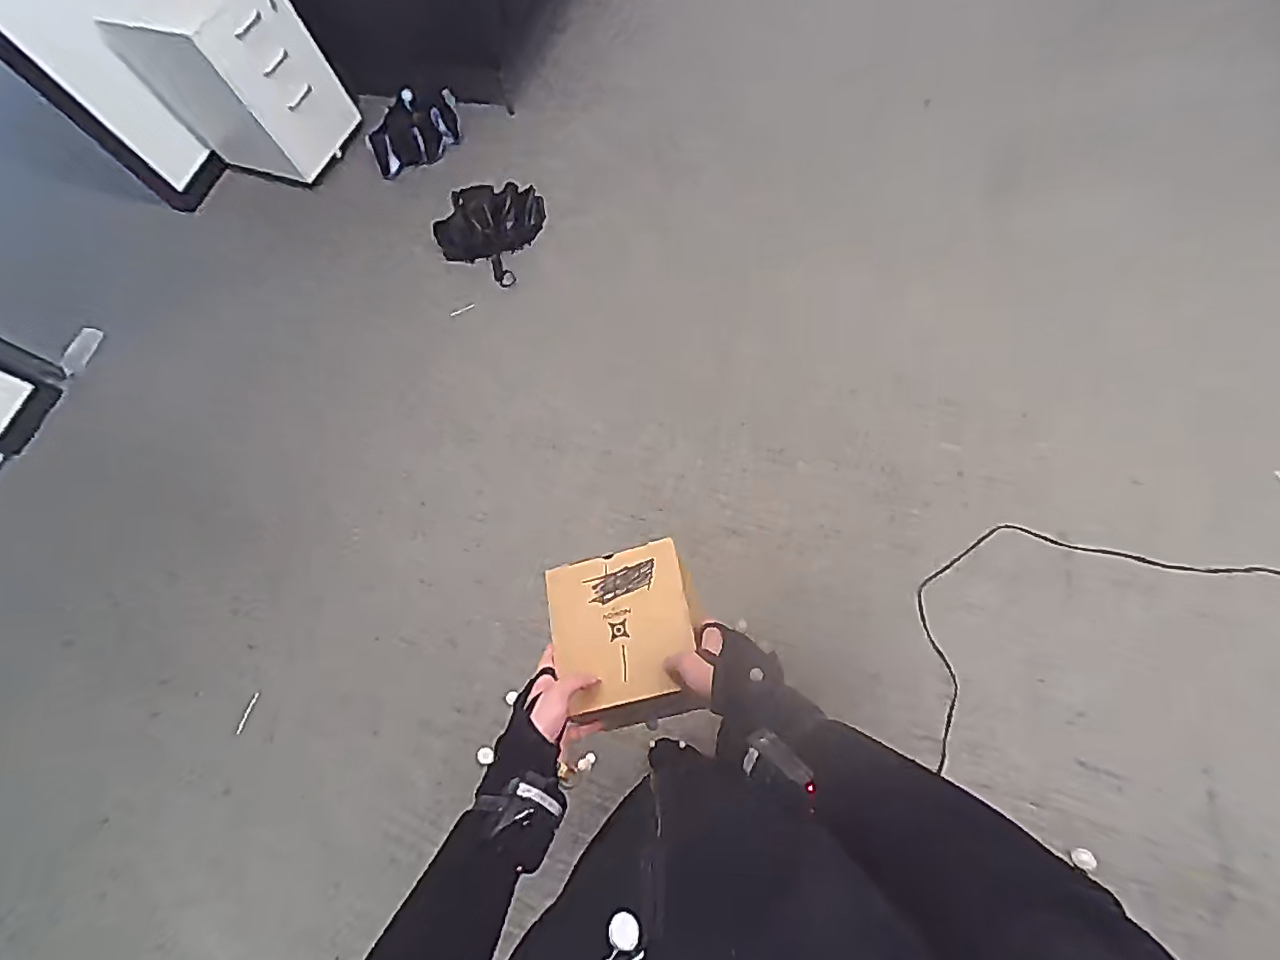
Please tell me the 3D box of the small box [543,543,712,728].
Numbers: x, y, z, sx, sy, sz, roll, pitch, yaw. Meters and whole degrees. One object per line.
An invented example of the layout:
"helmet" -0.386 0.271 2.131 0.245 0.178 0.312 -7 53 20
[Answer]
"small box" -0.013 0.207 0.699 0.168 0.176 0.179 -16 59 8
